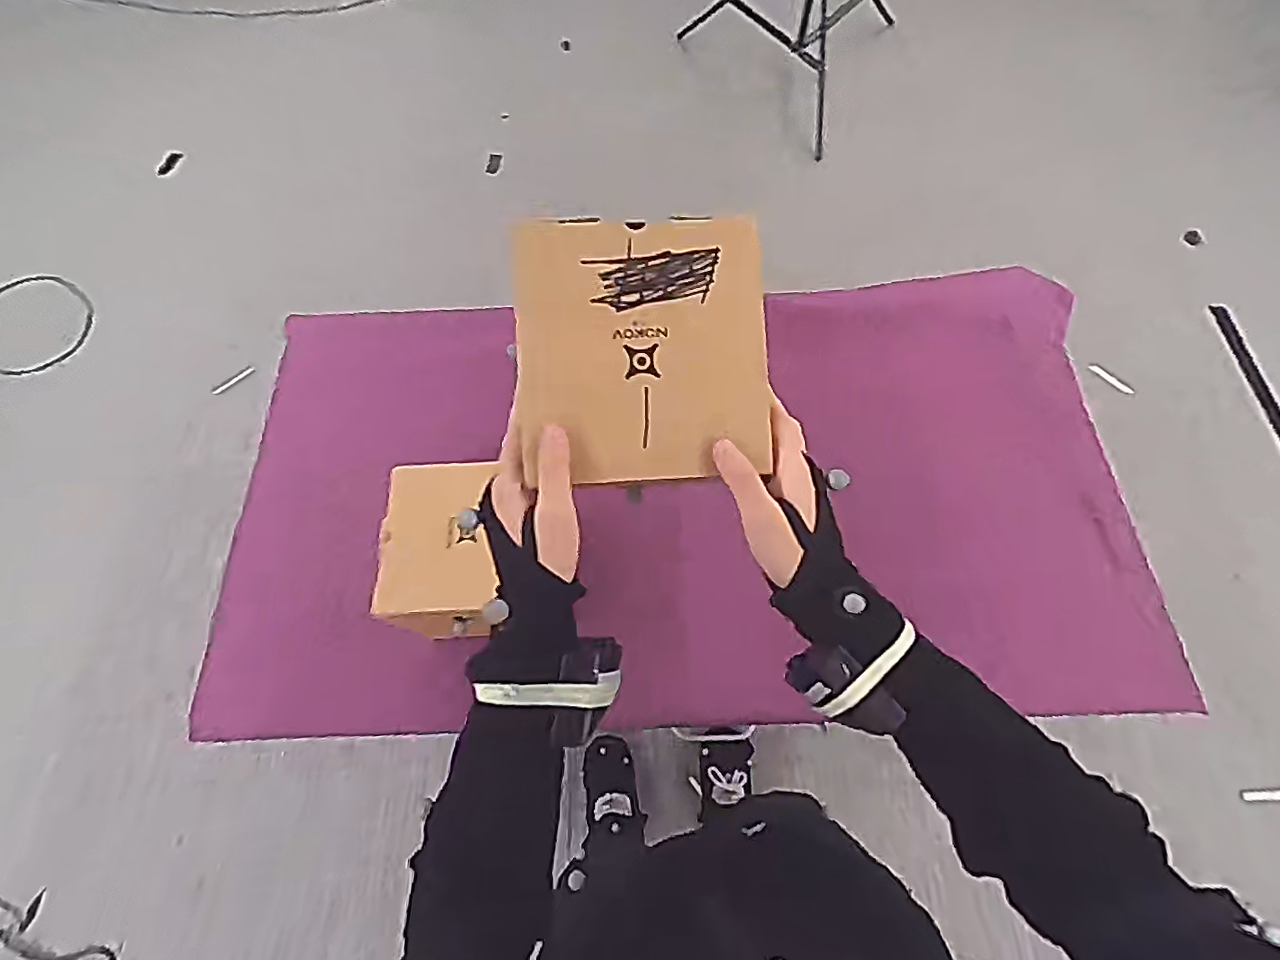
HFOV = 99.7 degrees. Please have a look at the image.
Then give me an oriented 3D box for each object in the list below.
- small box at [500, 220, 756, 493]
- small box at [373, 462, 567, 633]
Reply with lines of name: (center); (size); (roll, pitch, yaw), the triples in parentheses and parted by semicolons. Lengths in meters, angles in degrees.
small box: (-0.013, -0.081, 0.434); (0.168, 0.176, 0.179); (-3, 89, -3)
small box: (-0.185, 0.088, 0.649); (0.179, 0.176, 0.168); (-3, 67, 1)
